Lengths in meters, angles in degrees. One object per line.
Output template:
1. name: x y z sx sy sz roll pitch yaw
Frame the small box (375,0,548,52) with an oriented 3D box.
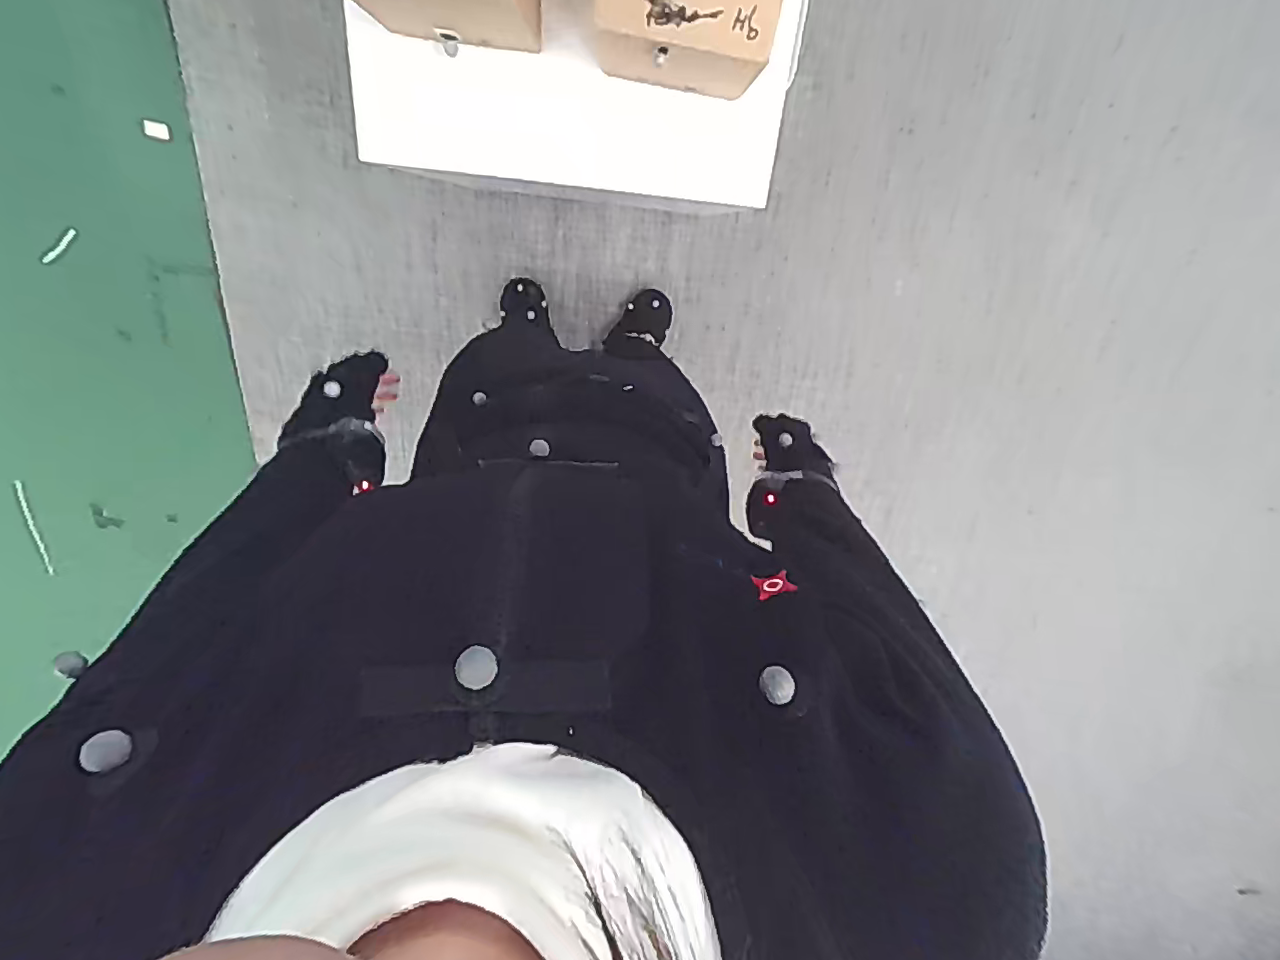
1. small box: -0.181 -0.544 0.513 0.168 0.176 0.179 4 117 -1

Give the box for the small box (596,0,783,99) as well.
1. small box: 0.053 -0.508 0.530 0.168 0.176 0.179 9 114 -4
